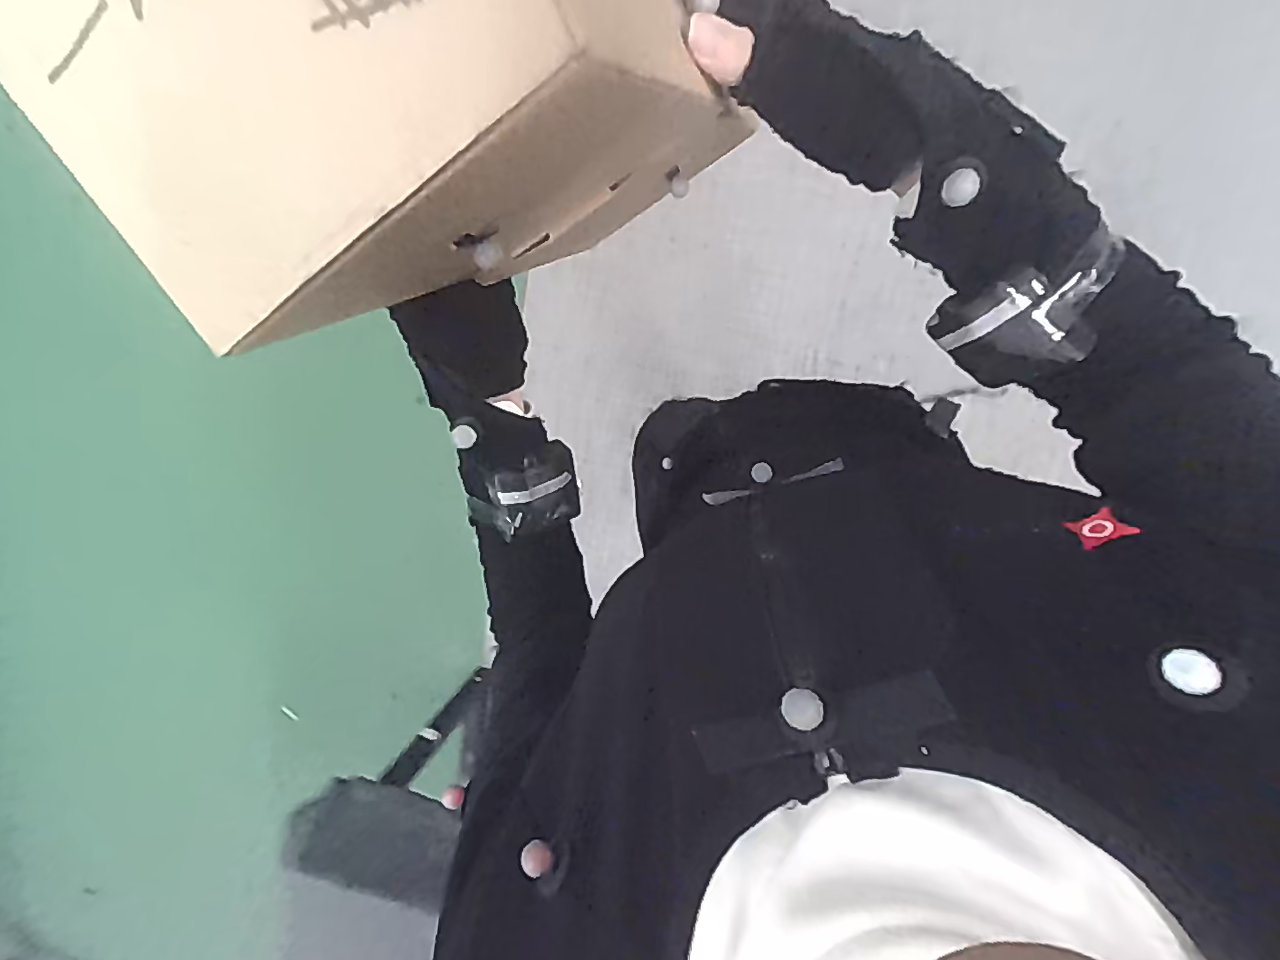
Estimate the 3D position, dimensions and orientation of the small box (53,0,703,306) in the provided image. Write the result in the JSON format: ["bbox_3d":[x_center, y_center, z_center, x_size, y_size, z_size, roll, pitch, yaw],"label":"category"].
[{"bbox_3d":[-0.087,-0.196,0.218,0.179,0.176,0.168,-16,111,30],"label":"small box"}]

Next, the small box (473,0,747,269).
[{"bbox_3d":[-0.048,-0.265,0.343,0.168,0.176,0.179,-20,108,30],"label":"small box"}]
